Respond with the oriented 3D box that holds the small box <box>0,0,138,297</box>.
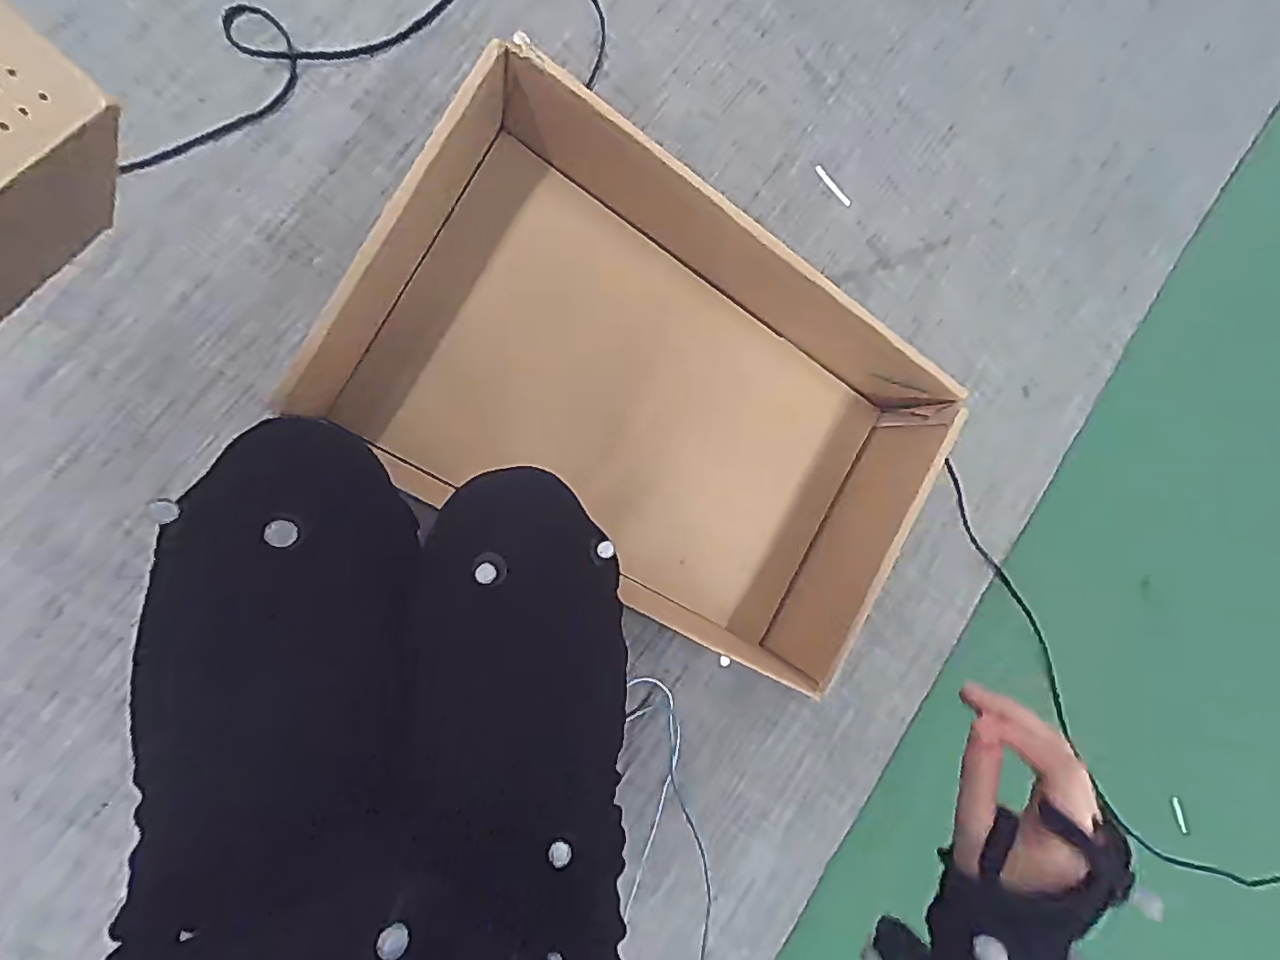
[{"bbox_3d":[-0.282,-0.110,0.138,0.168,0.179,0.176,46,65,-40],"label":"small box"}]
